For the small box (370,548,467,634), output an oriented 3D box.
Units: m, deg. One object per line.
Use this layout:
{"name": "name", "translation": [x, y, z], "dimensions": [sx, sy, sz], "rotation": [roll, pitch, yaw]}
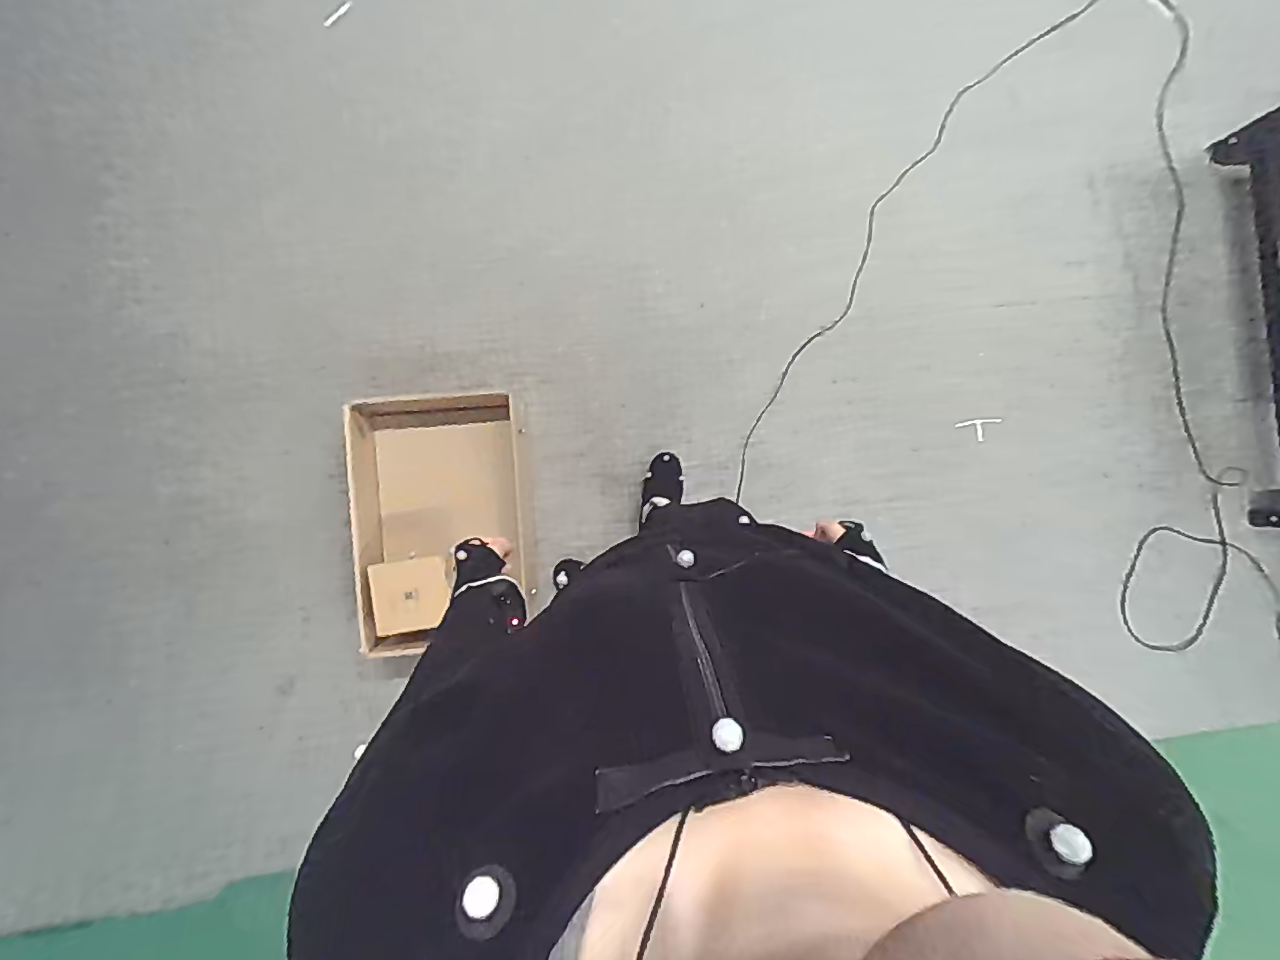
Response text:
{"name": "small box", "translation": [-0.536, 0.266, 1.335], "dimensions": [0.179, 0.176, 0.168], "rotation": [-7, 89, -4]}
